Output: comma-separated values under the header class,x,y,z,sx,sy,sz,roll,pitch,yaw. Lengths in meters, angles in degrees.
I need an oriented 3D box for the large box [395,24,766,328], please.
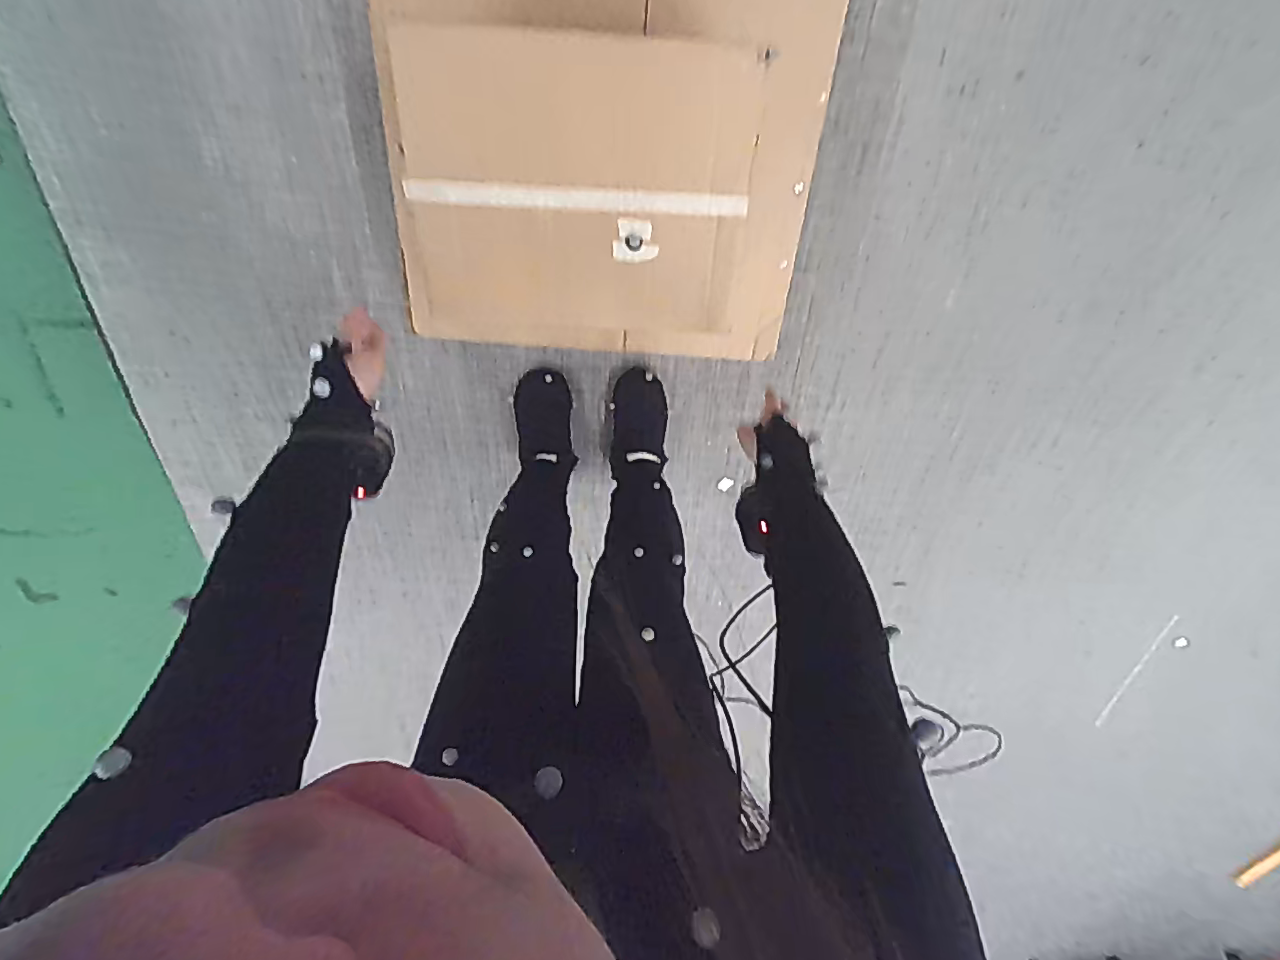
class,x,y,z,sx,sy,sz,roll,pitch,yaw
large box,-0.074,-0.413,0.778,0.408,0.320,0.320,1,121,-4
